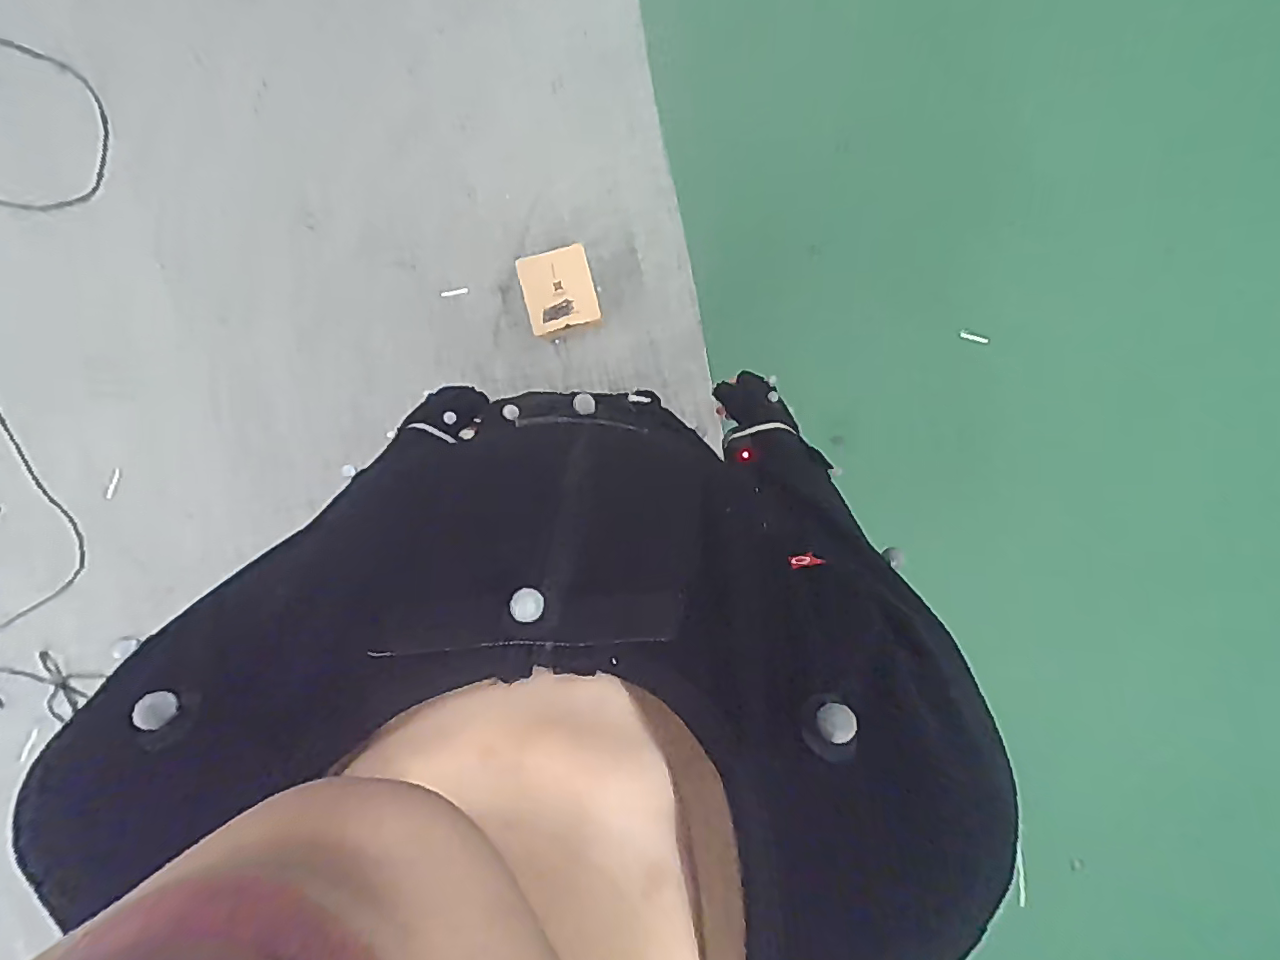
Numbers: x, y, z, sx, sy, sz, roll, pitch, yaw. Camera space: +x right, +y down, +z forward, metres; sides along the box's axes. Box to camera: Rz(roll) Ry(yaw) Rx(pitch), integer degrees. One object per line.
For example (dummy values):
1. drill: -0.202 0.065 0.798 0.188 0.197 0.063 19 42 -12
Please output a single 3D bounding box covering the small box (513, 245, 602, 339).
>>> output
1. small box: -0.193 -0.450 1.326 0.168 0.176 0.179 -13 99 2
